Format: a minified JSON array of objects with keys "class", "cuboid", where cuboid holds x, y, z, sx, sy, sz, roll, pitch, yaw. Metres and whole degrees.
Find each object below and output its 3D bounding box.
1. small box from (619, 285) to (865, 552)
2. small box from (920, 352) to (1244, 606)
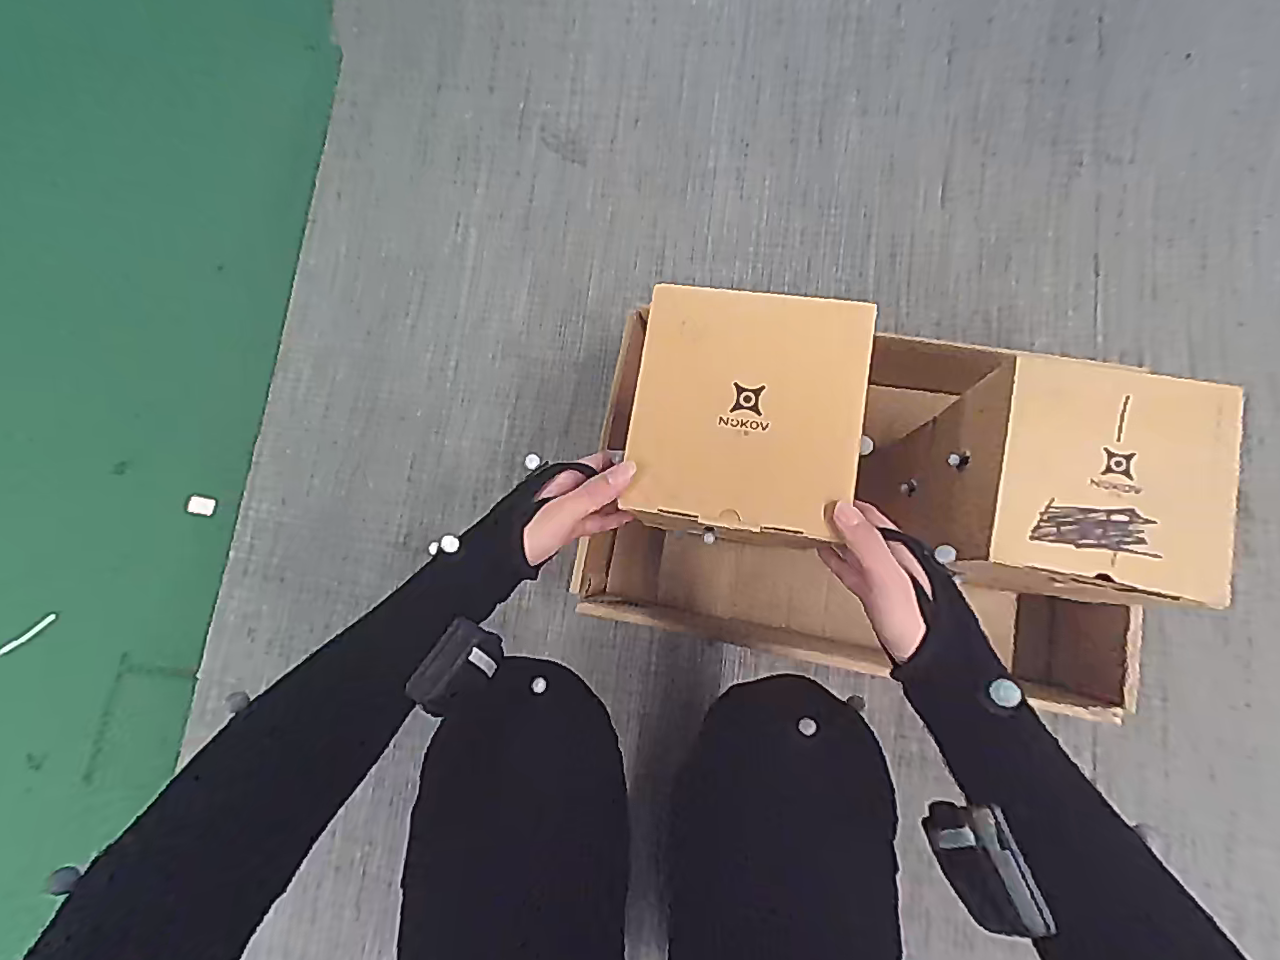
[{"class":"small box","cuboid":[0.083,-0.042,0.472,0.168,0.176,0.179,6,77,7]},{"class":"small box","cuboid":[0.379,0.008,0.498,0.168,0.176,0.179,12,80,10]}]
